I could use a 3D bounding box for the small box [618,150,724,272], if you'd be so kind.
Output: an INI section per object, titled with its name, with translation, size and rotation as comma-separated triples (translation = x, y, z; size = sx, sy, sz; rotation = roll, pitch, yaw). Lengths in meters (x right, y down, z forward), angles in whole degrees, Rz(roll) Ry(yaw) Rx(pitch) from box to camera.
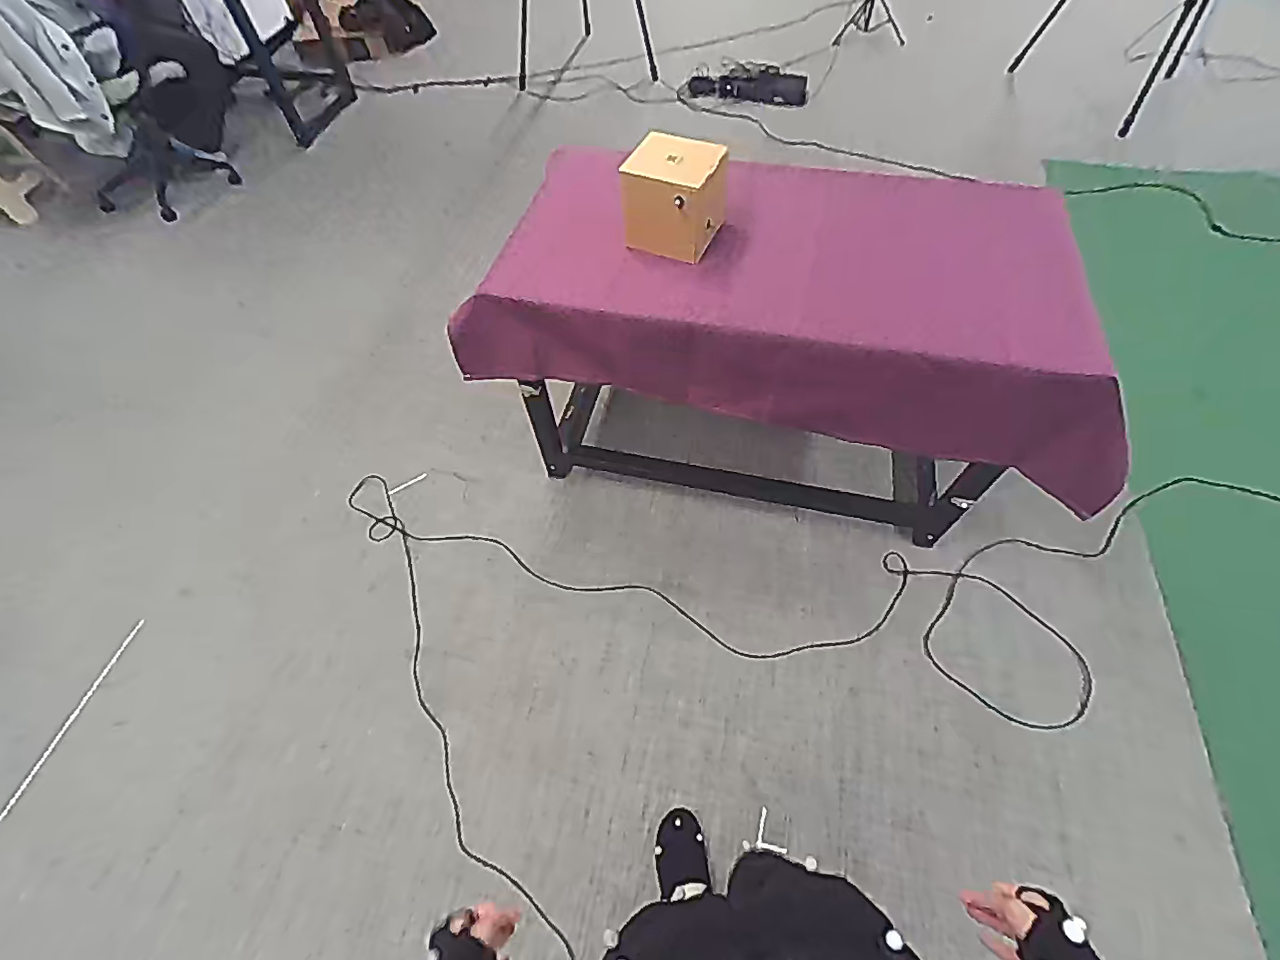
[small box]
translation = 0.067, -0.579, 1.171
size = 0.179, 0.176, 0.168
rotation = 20, 60, 14
